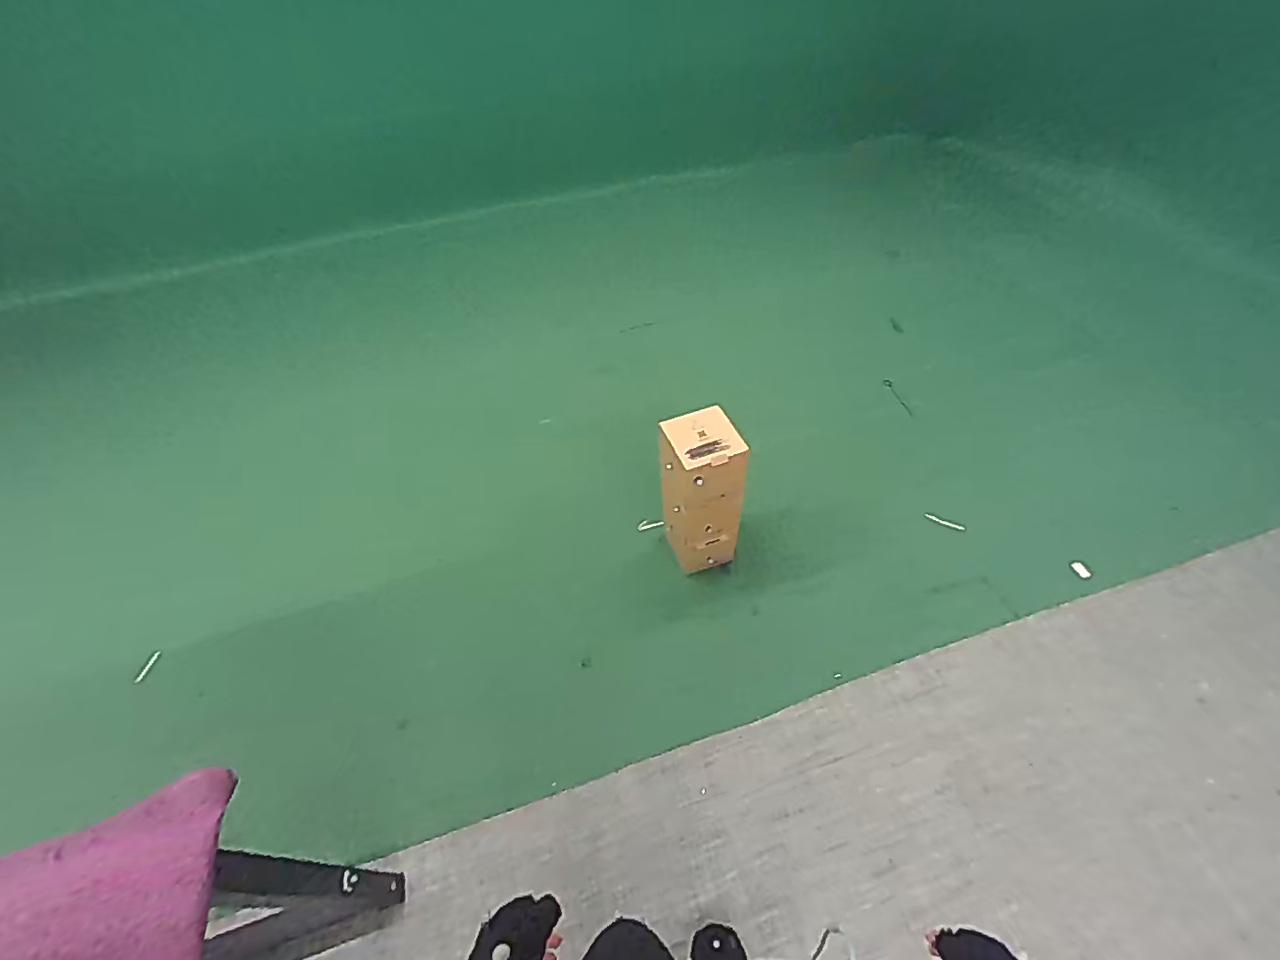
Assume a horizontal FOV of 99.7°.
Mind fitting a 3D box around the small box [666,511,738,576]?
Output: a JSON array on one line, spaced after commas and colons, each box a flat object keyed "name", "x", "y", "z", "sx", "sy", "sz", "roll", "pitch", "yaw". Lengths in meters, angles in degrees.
[{"name": "small box", "x": 0.180, "y": 0.161, "z": 1.641, "sx": 0.168, "sy": 0.176, "sz": 0.179, "roll": -17, "pitch": 51, "yaw": -10}]

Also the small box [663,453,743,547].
[{"name": "small box", "x": 0.169, "y": 0.058, "z": 1.515, "sx": 0.168, "sy": 0.176, "sz": 0.179, "roll": -18, "pitch": 53, "yaw": -11}]
